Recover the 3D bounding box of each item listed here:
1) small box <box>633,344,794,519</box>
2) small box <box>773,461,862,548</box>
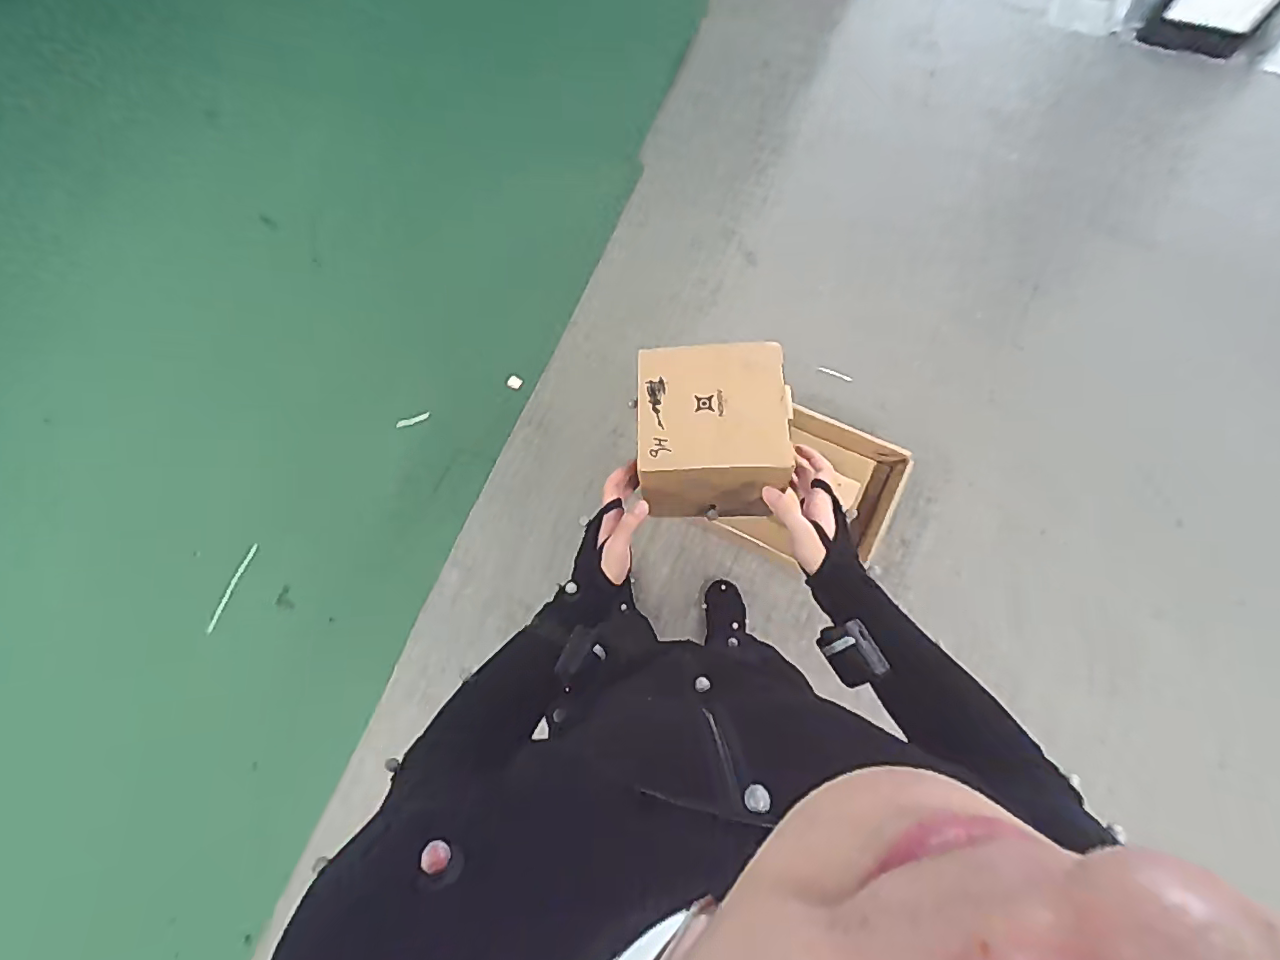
[{"bbox_3d":[0.084,-0.054,0.687,0.179,0.176,0.168,-1,66,3],"label":"small box"},{"bbox_3d":[0.479,0.075,1.487,0.168,0.176,0.179,27,84,11],"label":"small box"}]
